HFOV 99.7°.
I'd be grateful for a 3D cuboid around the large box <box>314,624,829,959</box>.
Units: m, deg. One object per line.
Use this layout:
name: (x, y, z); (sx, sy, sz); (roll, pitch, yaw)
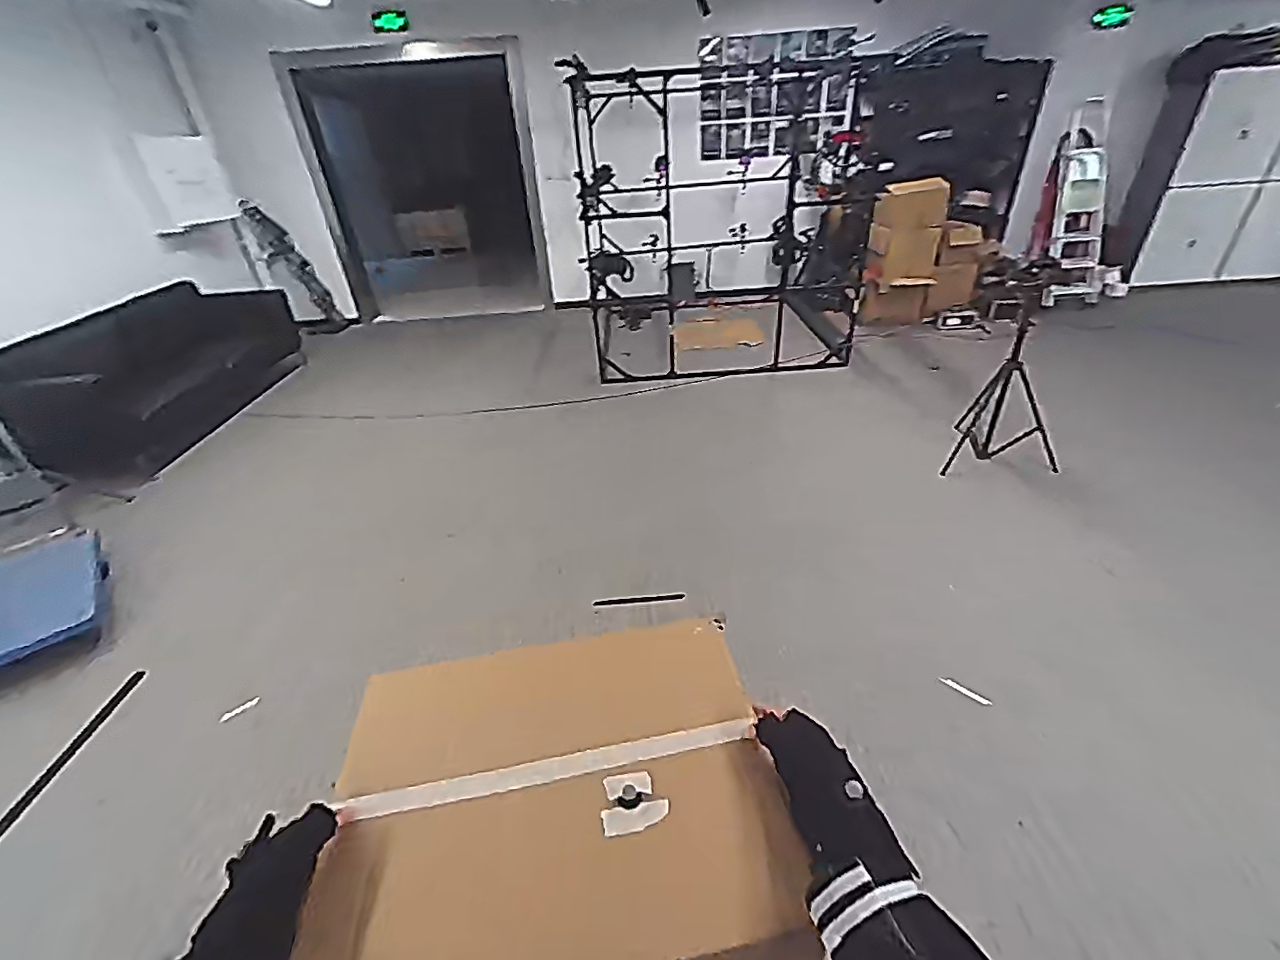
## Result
large box: (-0.062, 0.409, 0.598); (0.408, 0.320, 0.320); (-7, 32, -6)
